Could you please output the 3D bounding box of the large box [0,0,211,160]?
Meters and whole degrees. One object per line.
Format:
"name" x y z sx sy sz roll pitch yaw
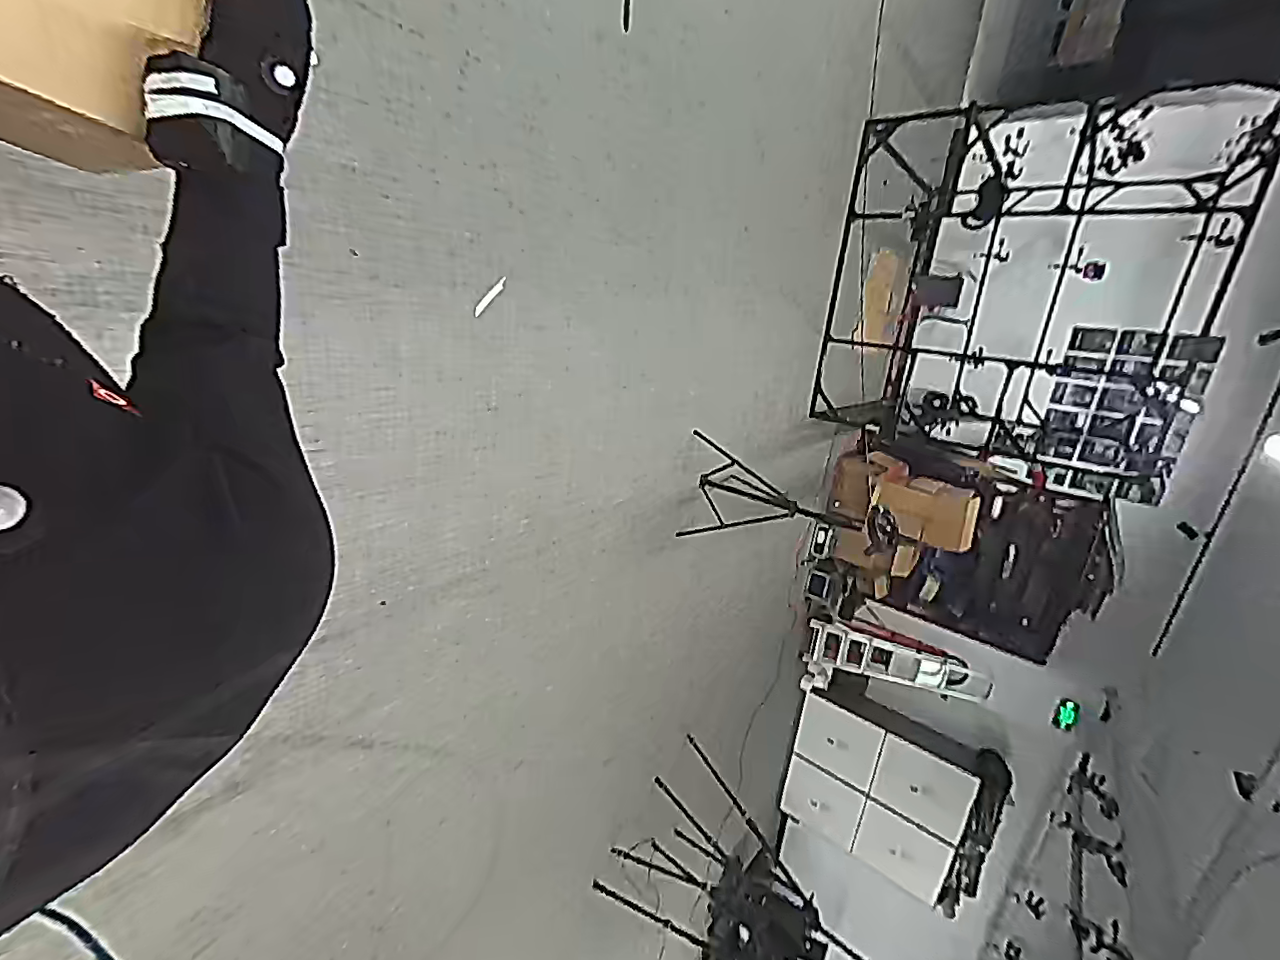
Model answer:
"large box" -0.542 -0.446 0.313 0.408 0.320 0.320 2 105 -57
